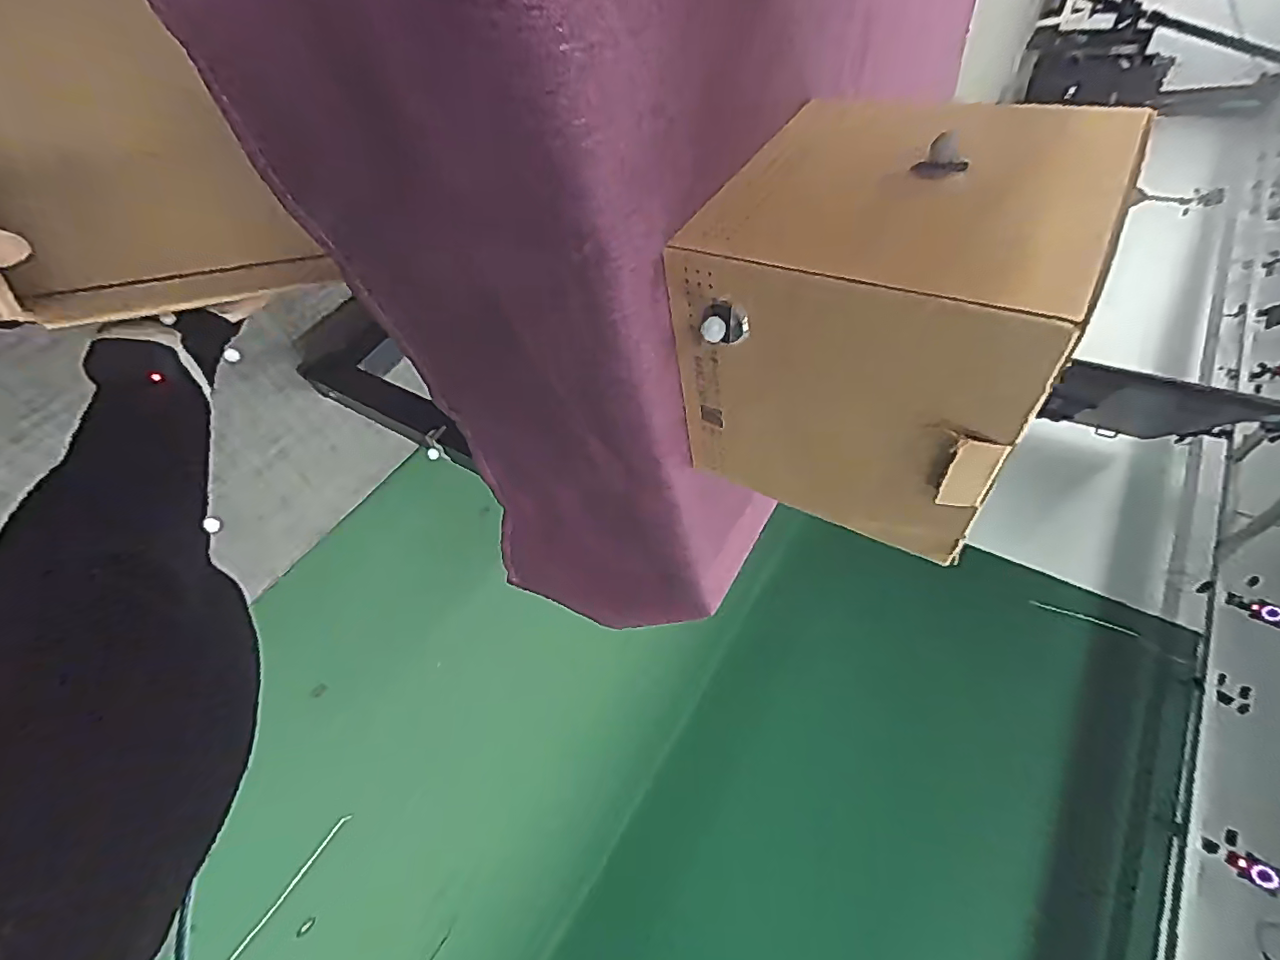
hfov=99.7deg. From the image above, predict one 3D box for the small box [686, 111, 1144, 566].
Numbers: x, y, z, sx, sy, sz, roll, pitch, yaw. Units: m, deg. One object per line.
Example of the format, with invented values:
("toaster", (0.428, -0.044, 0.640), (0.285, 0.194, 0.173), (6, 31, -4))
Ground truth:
("small box", (0.136, -0.088, 0.315), (0.179, 0.176, 0.168), (-53, 150, -26))
